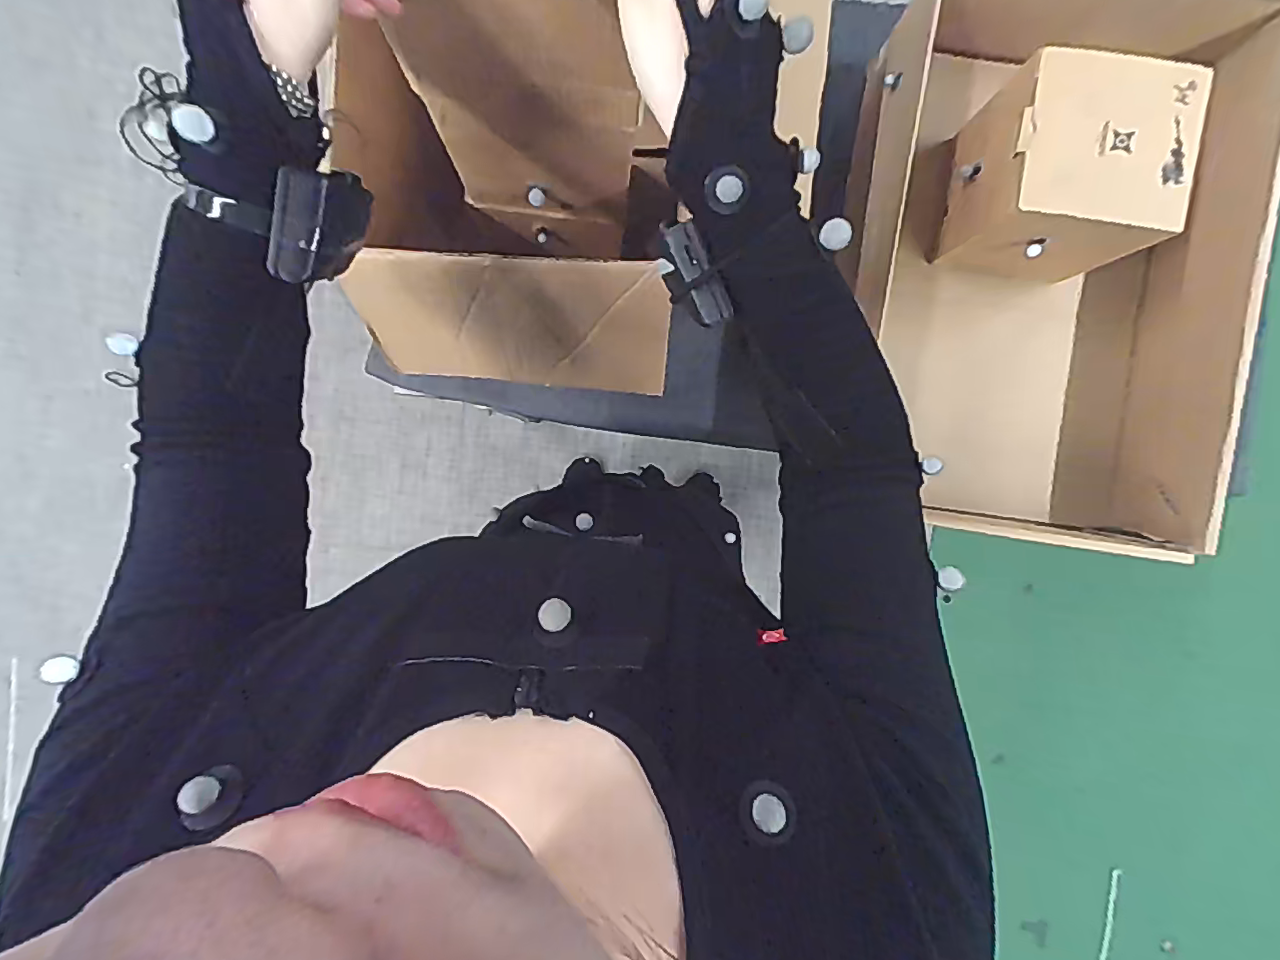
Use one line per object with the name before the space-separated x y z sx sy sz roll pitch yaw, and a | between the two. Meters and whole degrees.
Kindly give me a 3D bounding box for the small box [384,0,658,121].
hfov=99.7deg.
small box | -0.070 -0.364 0.338 0.179 0.176 0.168 7 92 -5
